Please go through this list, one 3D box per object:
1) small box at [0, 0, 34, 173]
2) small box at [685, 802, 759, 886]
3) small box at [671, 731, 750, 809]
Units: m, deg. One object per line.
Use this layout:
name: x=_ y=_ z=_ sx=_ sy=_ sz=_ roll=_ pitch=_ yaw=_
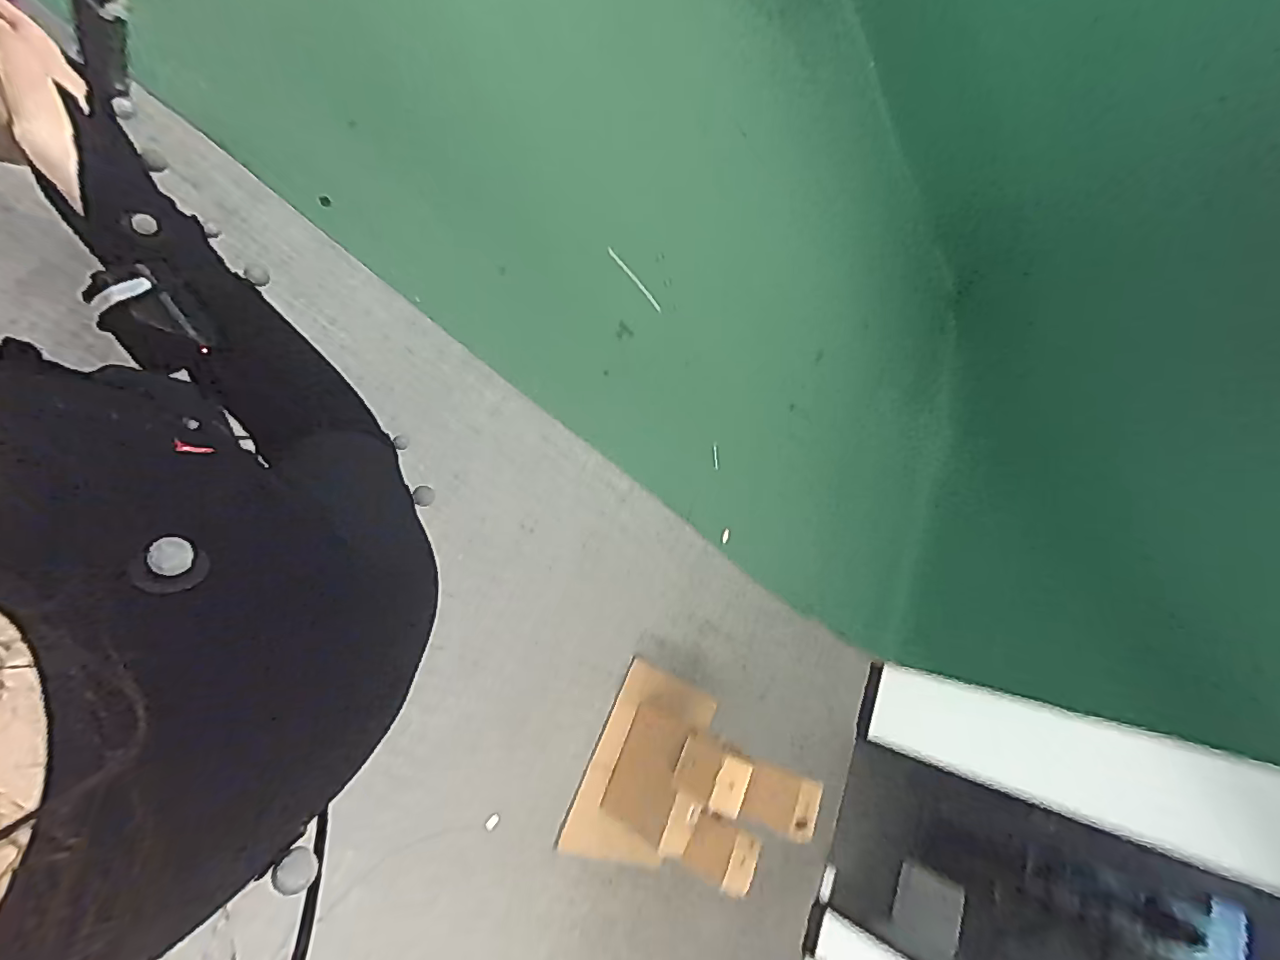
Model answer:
small box: x=-0.439 y=-0.275 z=0.257 sx=0.168 sy=0.176 sz=0.179 roll=-13 pitch=109 yaw=-39
small box: x=0.279 y=1.255 z=1.869 sx=0.168 sy=0.176 sz=0.179 roll=44 pitch=61 yaw=-35
small box: x=0.237 y=0.974 z=1.824 sx=0.179 sy=0.176 sz=0.168 roll=40 pitch=66 yaw=-35
